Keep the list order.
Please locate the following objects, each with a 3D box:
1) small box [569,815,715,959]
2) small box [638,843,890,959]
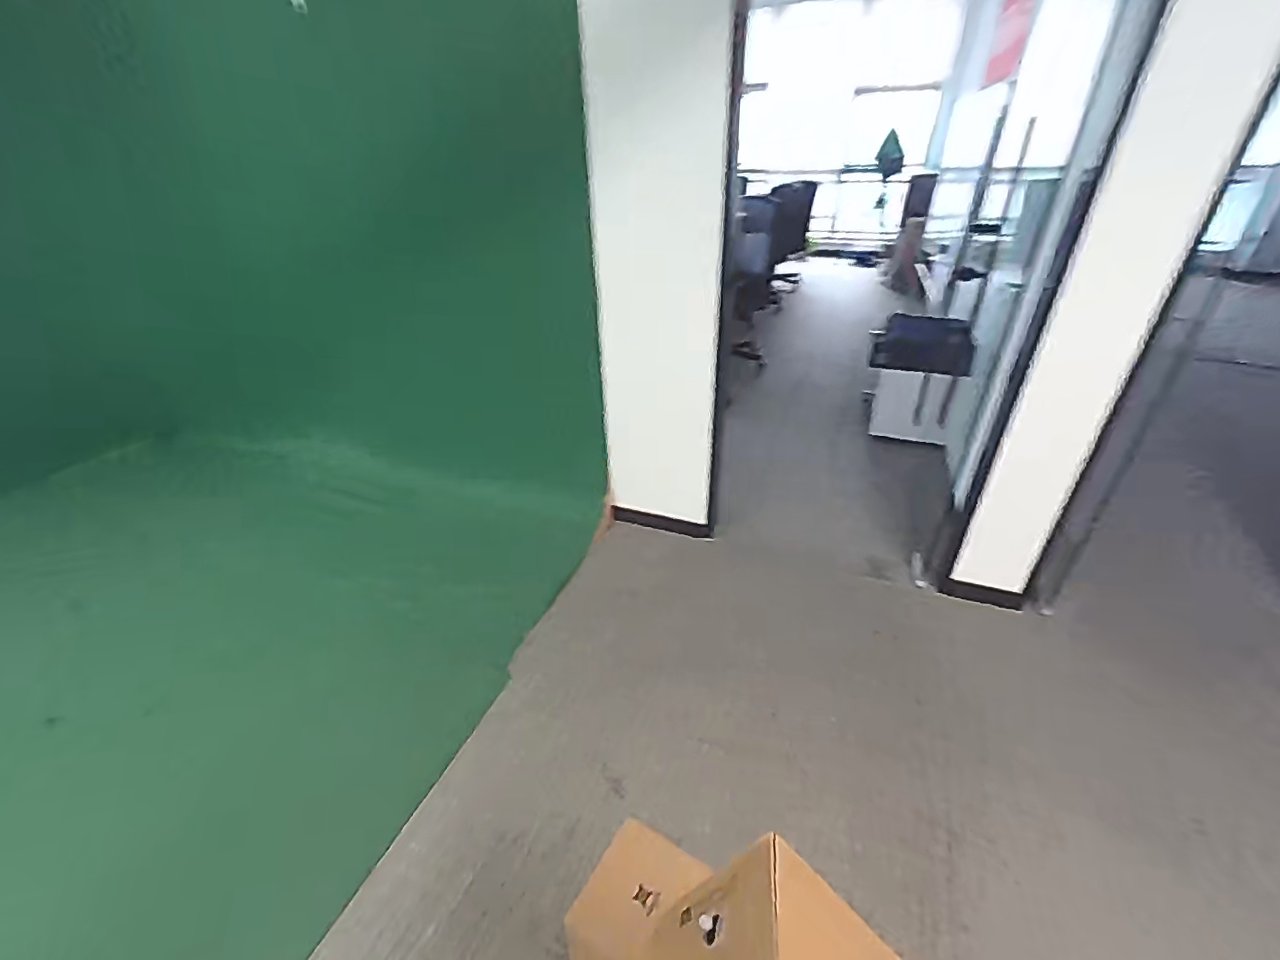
[{"bbox_3d":[0.016,0.663,0.810,0.179,0.176,0.168,19,37,28],"label":"small box"},{"bbox_3d":[0.099,0.426,0.396,0.179,0.168,0.176,43,14,4],"label":"small box"}]
